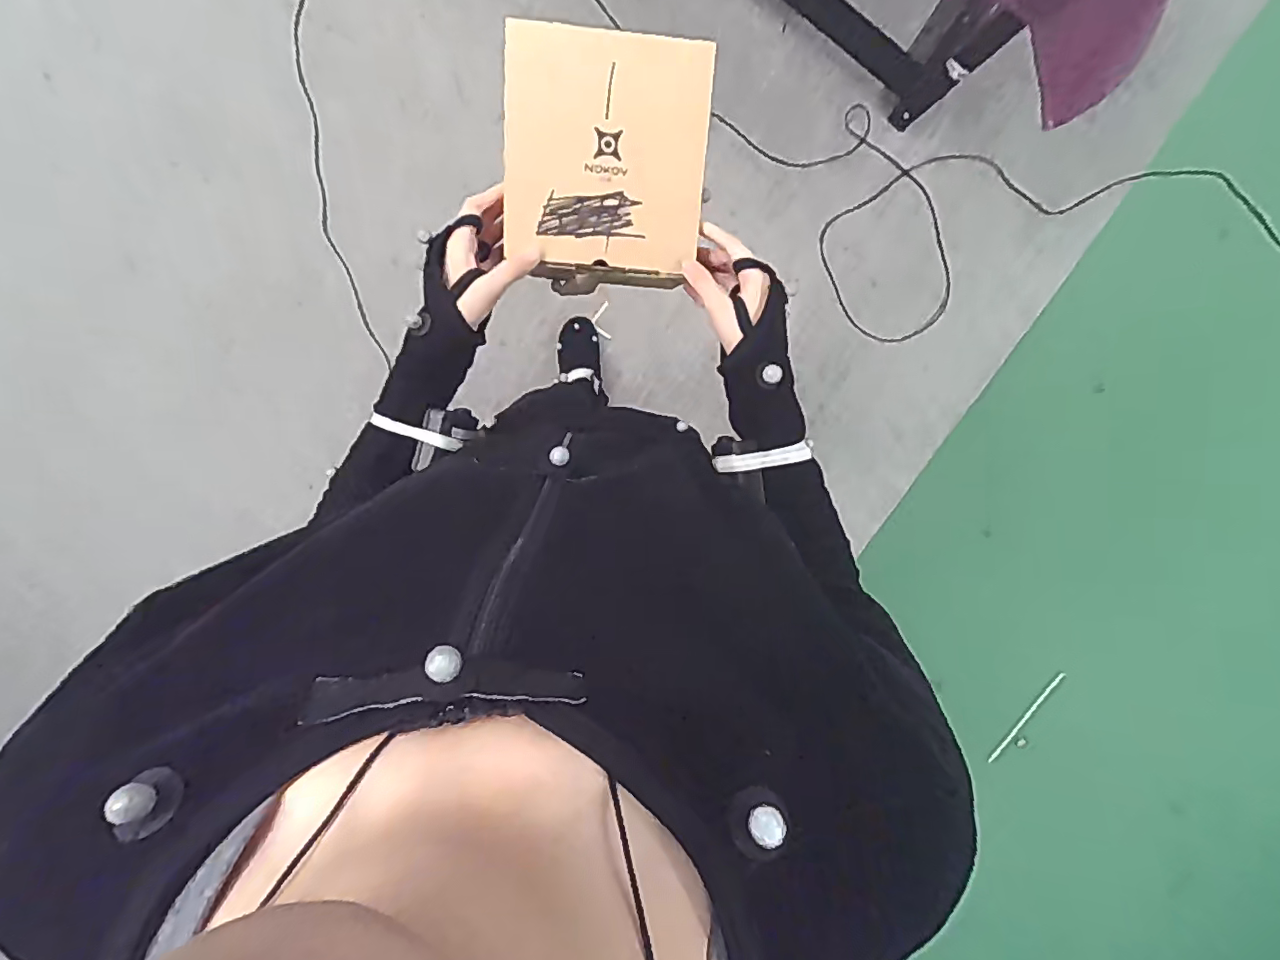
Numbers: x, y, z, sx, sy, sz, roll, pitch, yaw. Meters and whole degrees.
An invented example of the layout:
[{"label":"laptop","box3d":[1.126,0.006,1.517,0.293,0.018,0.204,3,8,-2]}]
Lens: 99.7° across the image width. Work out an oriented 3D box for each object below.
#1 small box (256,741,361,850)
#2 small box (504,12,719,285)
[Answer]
[{"label":"small box","box3d":[-0.947,0.904,1.564,0.168,0.176,0.179,33,97,-8]},{"label":"small box","box3d":[-0.031,-0.289,0.516,0.168,0.176,0.179,4,105,-5]}]
